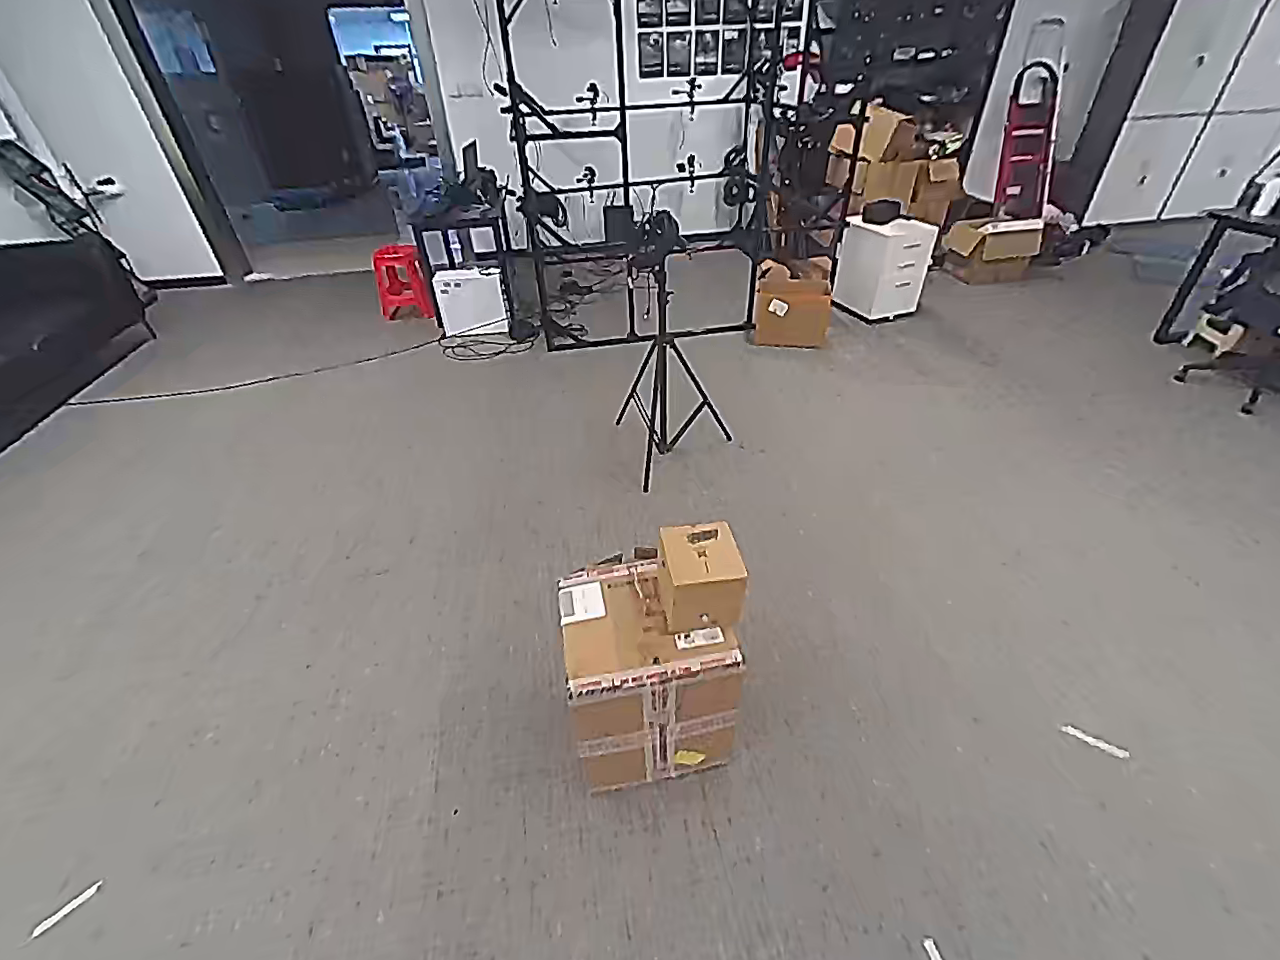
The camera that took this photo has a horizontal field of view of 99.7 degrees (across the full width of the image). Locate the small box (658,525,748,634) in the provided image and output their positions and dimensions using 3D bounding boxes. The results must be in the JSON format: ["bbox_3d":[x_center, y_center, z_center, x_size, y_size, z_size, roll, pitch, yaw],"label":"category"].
[{"bbox_3d":[0.136,0.229,1.250,0.168,0.176,0.179,-5,40,-7],"label":"small box"}]
